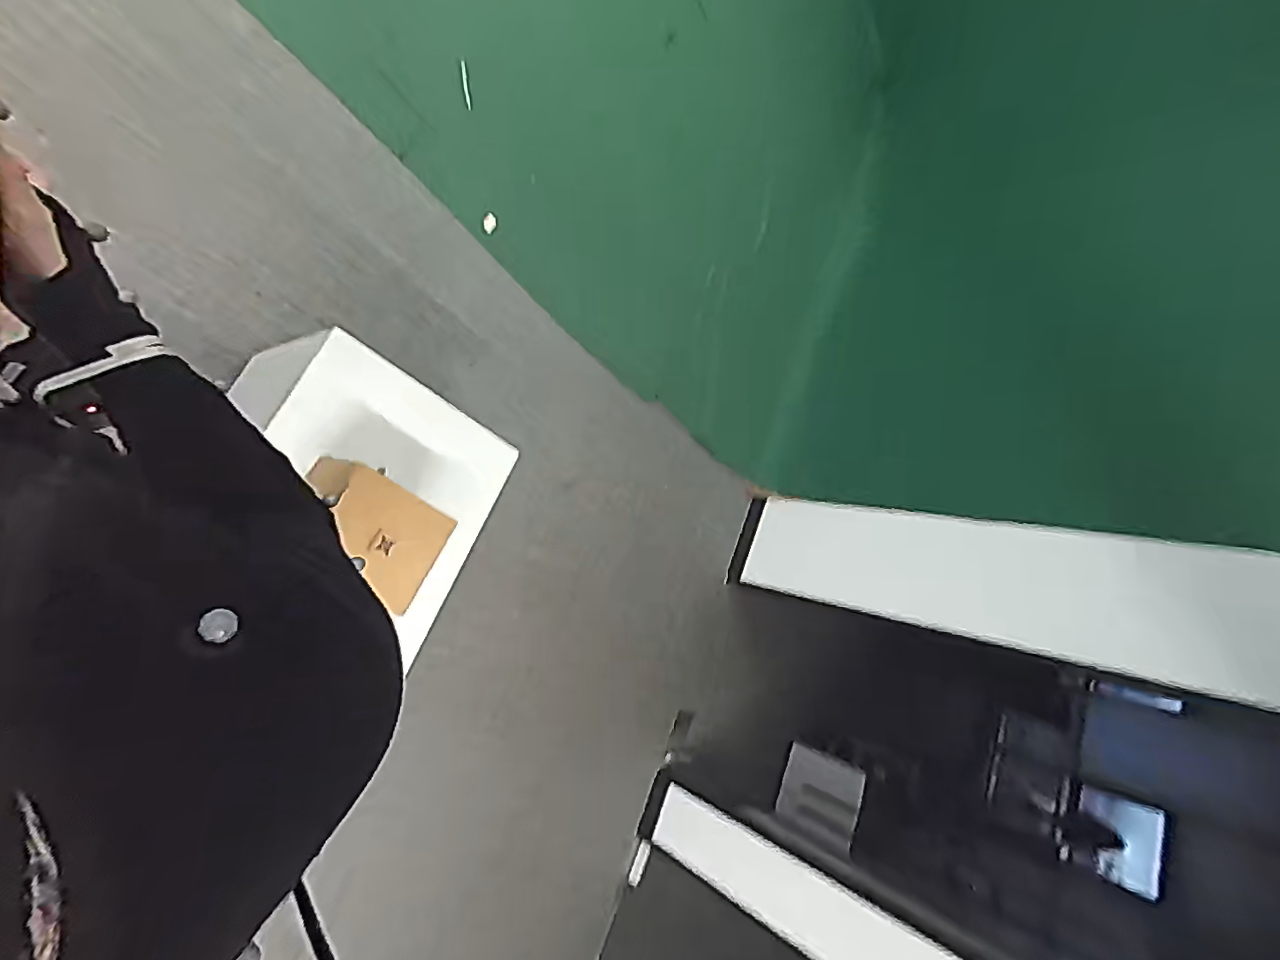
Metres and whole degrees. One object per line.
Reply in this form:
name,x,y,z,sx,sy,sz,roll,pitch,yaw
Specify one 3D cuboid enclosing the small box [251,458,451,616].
small box,-0.428,0.078,0.807,0.179,0.176,0.168,44,63,-42
